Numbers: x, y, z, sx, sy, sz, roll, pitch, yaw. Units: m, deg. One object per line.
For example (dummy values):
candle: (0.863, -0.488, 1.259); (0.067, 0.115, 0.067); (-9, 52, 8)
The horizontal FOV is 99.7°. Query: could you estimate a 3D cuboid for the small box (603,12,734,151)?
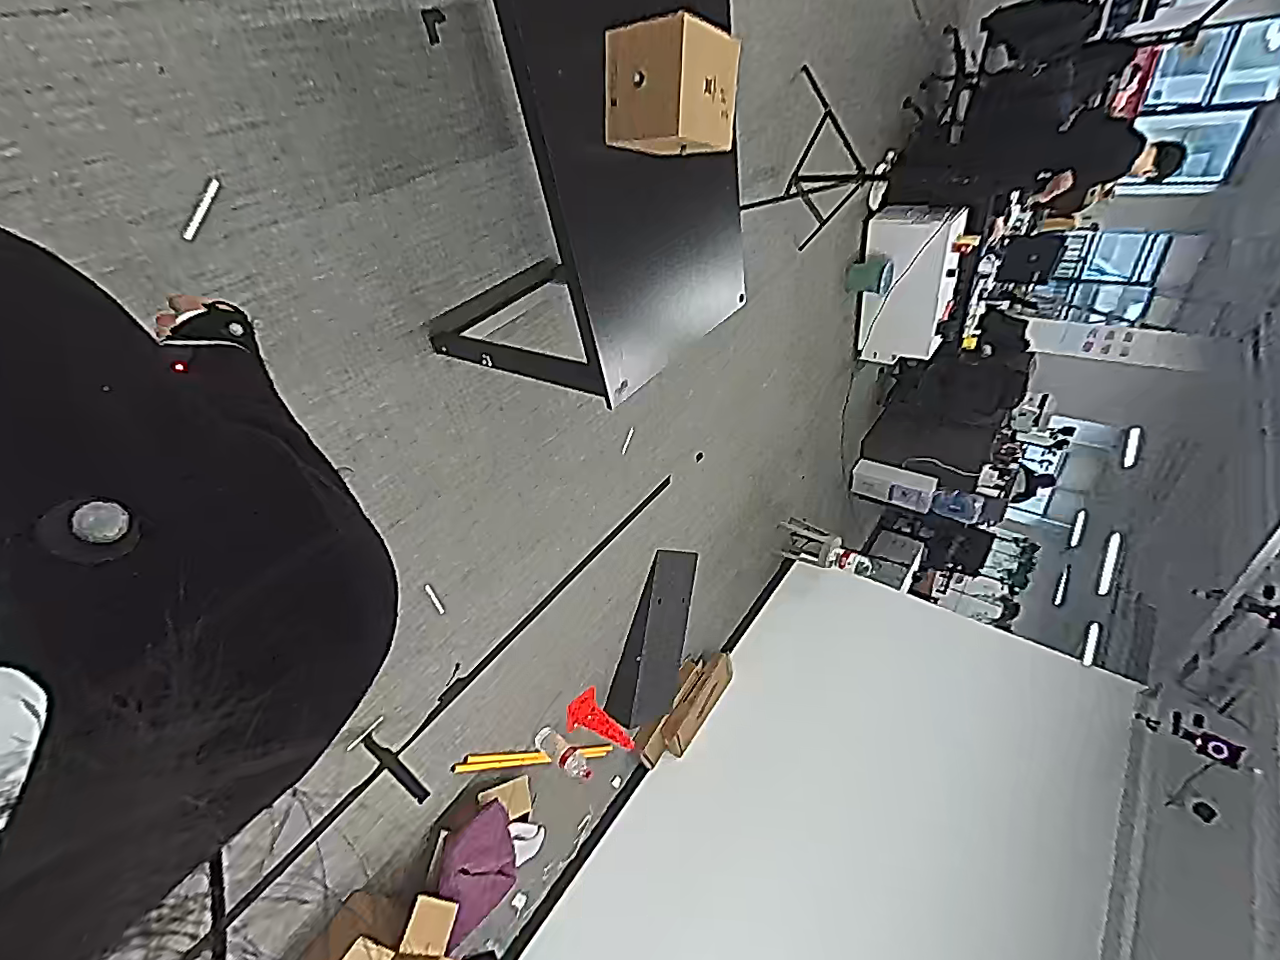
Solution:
small box: (0.047, -0.700, 0.974); (0.179, 0.176, 0.168); (-27, 128, -46)
